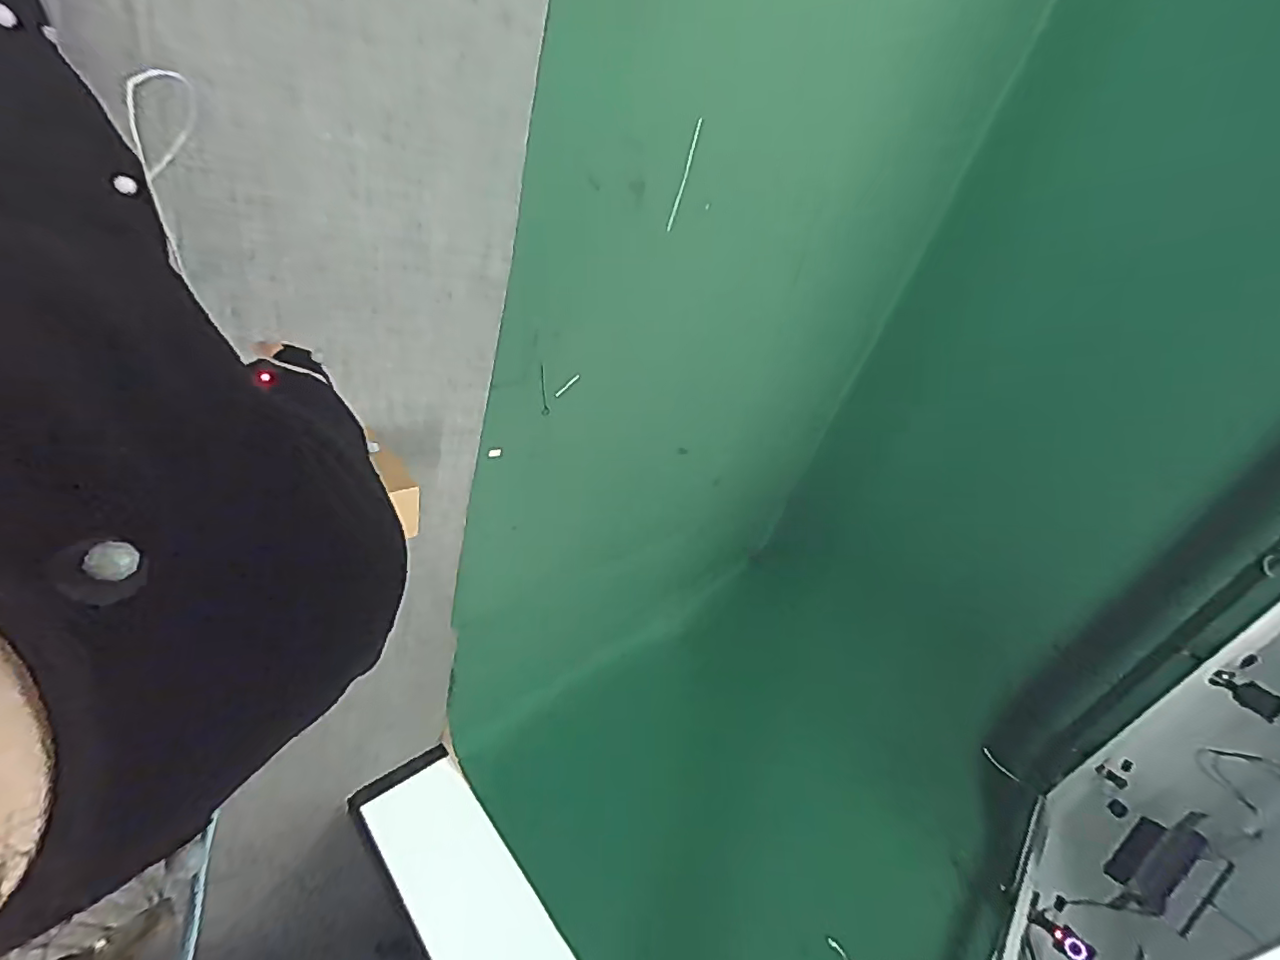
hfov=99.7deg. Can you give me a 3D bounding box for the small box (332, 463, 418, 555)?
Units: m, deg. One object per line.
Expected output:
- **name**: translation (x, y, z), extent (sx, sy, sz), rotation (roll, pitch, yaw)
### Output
- **small box**: translation (-0.722, 0.069, 1.471), extent (0.168, 0.176, 0.179), rotation (-16, 134, -41)
